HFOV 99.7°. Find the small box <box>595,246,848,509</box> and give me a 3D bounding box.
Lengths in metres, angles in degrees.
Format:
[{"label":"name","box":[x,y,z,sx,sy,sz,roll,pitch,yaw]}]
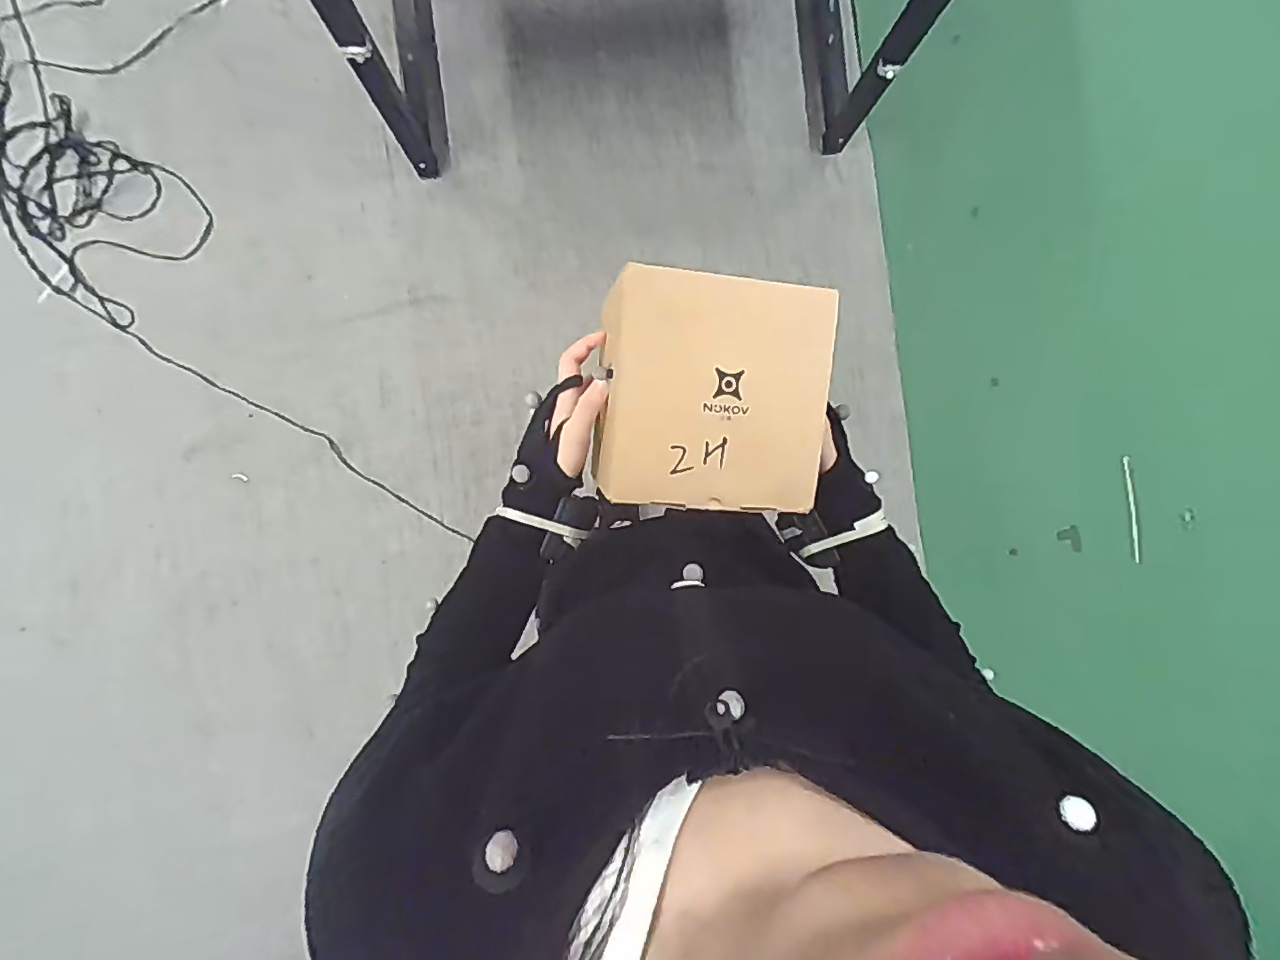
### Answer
[{"label":"small box","box":[0.053,-0.077,0.470,0.168,0.176,0.179,4,95,-10]}]
